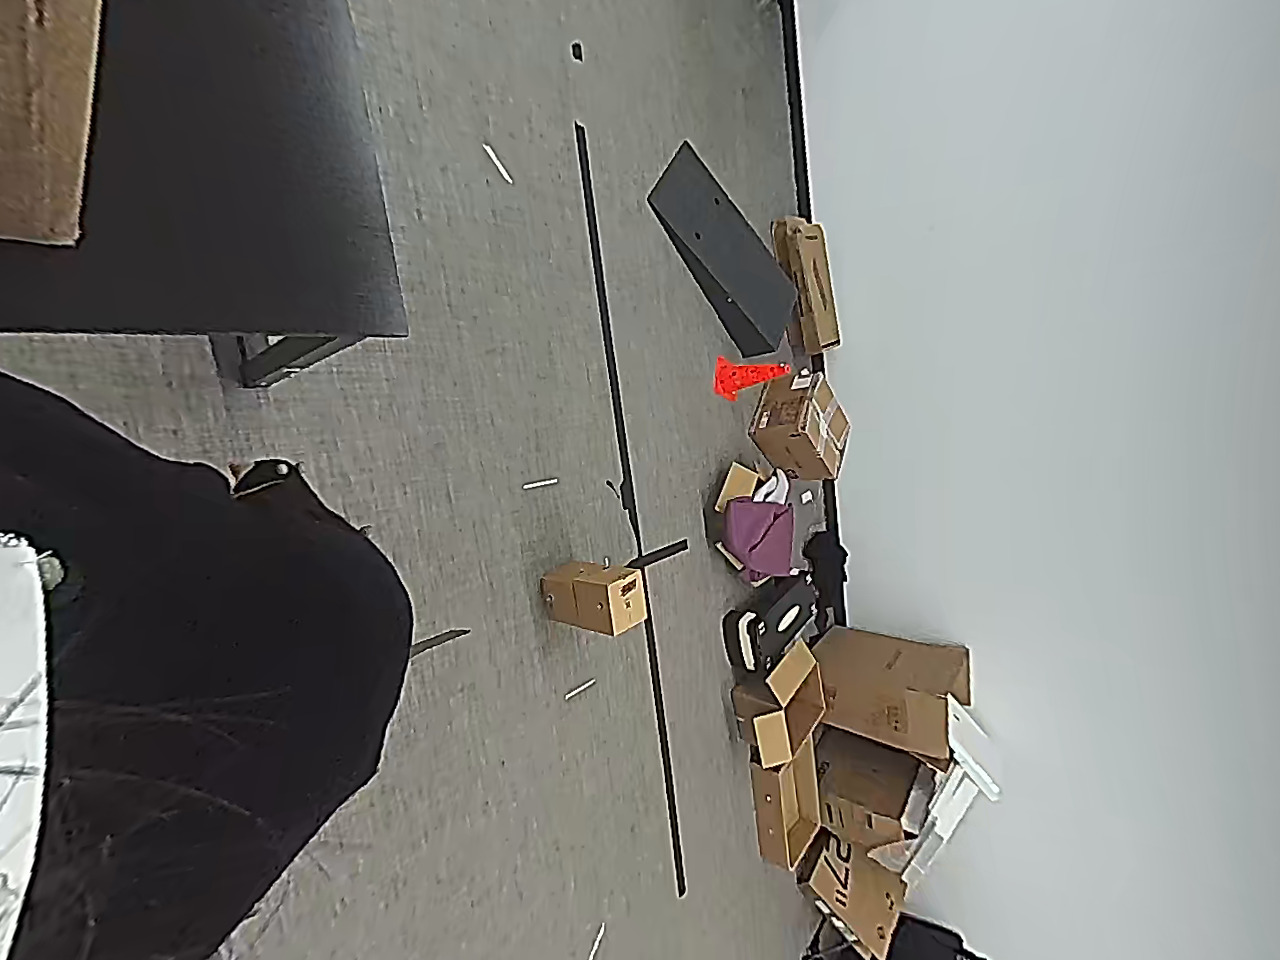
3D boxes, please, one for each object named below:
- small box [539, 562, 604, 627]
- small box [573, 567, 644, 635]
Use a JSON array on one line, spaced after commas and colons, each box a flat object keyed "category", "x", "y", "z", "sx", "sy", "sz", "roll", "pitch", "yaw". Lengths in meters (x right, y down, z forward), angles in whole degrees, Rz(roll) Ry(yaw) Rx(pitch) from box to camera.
[{"category": "small box", "x": -0.234, "y": 0.402, "z": 1.934, "sx": 0.179, "sy": 0.176, "sz": 0.168, "roll": -21, "pitch": 104, "yaw": -45}, {"category": "small box", "x": -0.110, "y": 0.400, "z": 1.824, "sx": 0.168, "sy": 0.176, "sz": 0.179, "roll": -15, "pitch": 101, "yaw": -47}]
